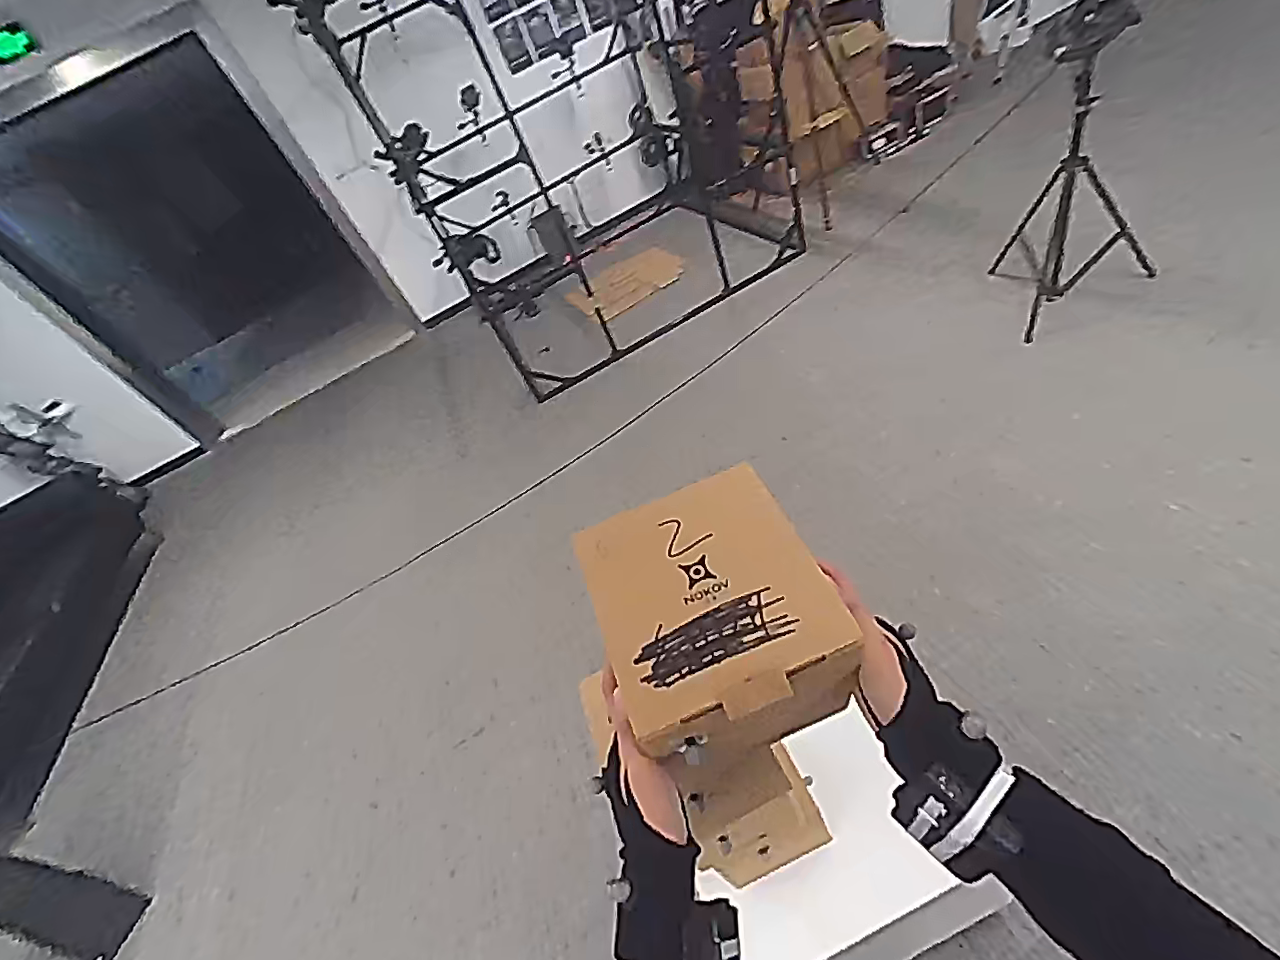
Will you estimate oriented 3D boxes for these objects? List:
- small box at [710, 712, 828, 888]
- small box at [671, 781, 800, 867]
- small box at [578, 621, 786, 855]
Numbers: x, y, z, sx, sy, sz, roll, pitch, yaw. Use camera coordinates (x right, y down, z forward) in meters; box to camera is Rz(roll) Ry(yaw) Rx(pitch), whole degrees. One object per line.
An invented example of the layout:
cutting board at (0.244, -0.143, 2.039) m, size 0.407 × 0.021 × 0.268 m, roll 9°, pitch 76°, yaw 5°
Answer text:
small box at (0.180, 0.520, 0.874) m, size 0.179 × 0.176 × 0.168 m, roll -27°, pitch 40°, yaw -1°
small box at (0.107, 0.418, 0.770) m, size 0.168 × 0.176 × 0.179 m, roll -27°, pitch 39°, yaw 1°
small box at (0.052, 0.313, 0.653) m, size 0.179 × 0.176 × 0.168 m, roll -28°, pitch 40°, yaw -2°
